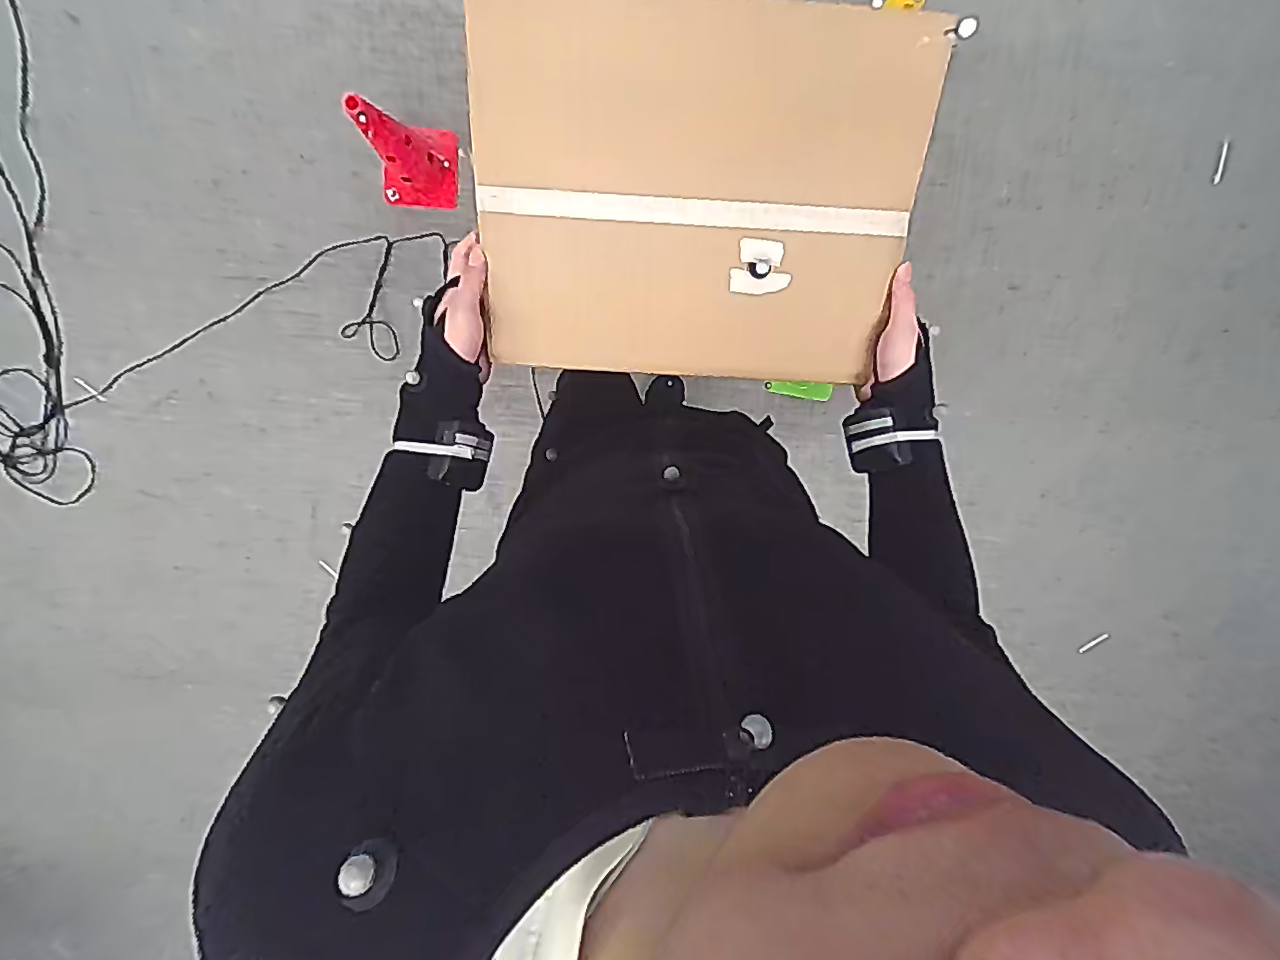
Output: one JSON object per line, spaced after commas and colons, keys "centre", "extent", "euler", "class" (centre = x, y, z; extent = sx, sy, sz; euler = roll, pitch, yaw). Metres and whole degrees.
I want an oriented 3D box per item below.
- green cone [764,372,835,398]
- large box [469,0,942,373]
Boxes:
{"centre": [0.471, -0.318, 1.387], "extent": [0.200, 0.368, 0.202], "euler": [9, 99, -2], "class": "green cone"}
{"centre": [0.047, -0.321, 0.645], "extent": [0.408, 0.320, 0.320], "euler": [2, 117, -3], "class": "large box"}
